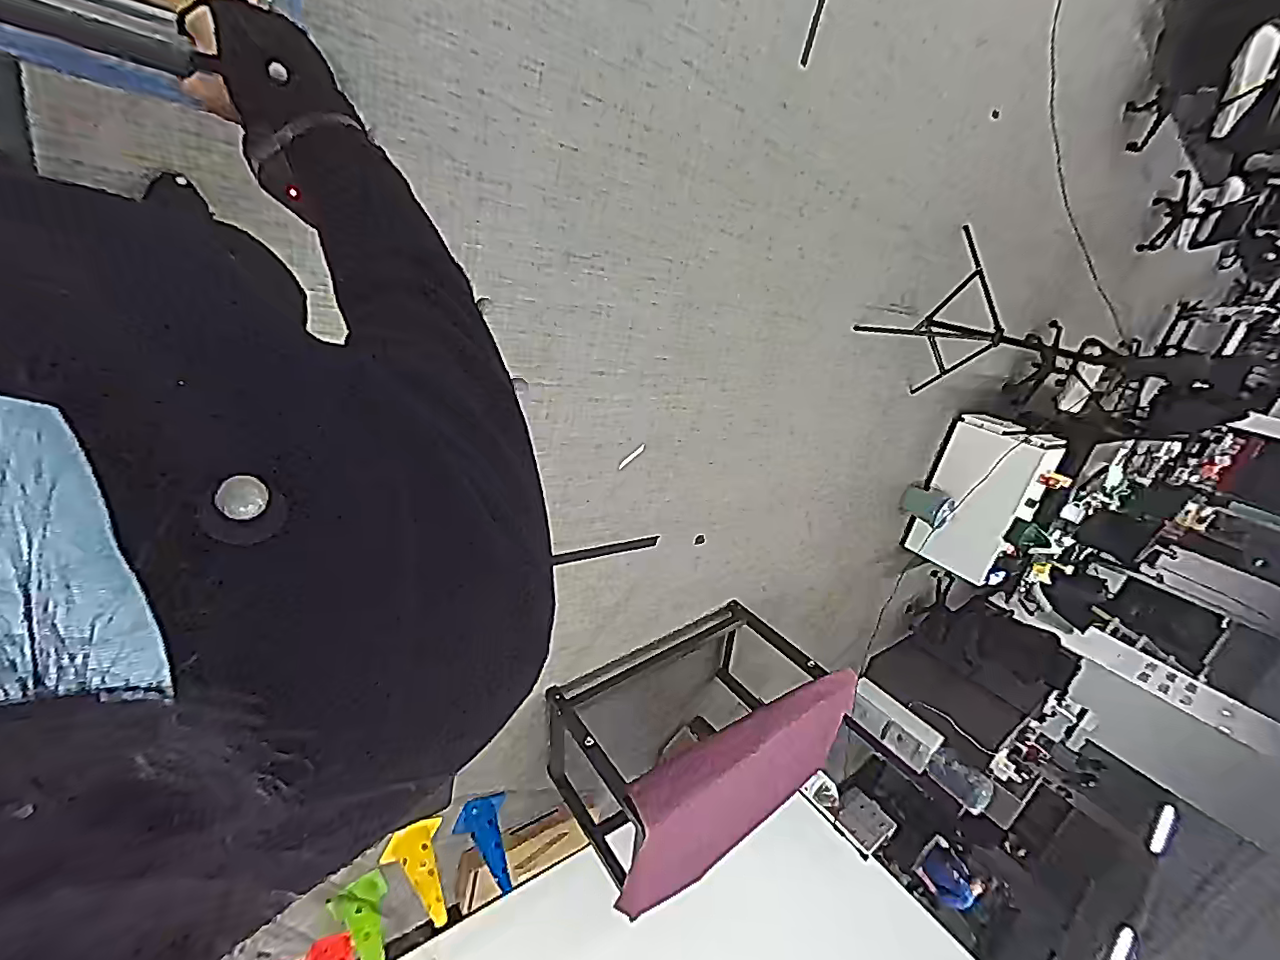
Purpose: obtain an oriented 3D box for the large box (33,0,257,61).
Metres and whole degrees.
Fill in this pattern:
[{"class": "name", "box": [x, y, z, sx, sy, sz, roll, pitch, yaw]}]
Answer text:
[{"class": "large box", "box": [-0.721, -0.766, 0.634, 0.408, 0.320, 0.320, -6, 119, -40]}]
